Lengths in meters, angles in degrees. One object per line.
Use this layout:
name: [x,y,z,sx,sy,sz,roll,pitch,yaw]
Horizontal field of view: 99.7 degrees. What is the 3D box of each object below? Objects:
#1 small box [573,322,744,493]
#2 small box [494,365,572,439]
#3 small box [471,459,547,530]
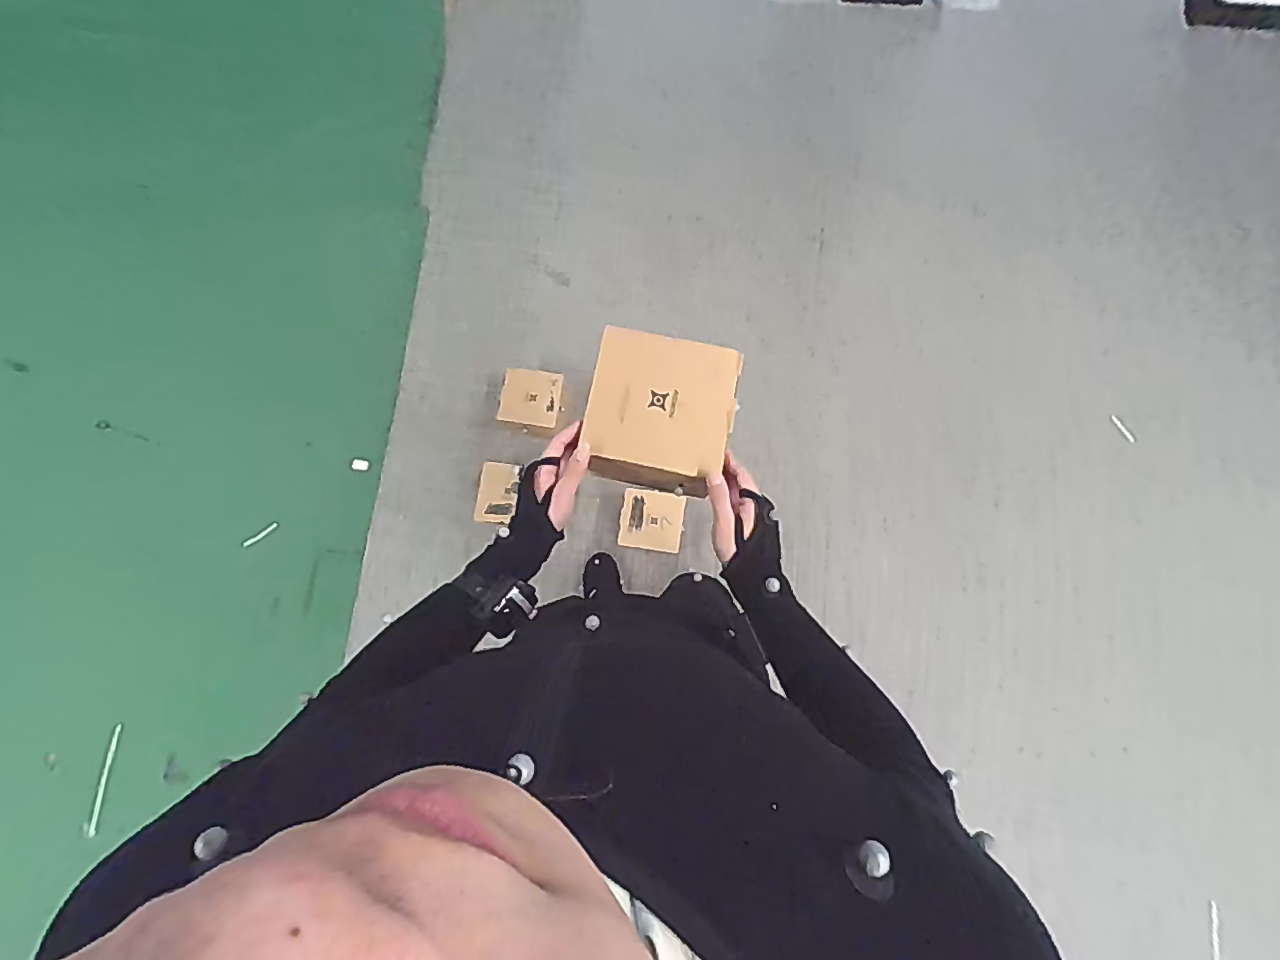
small box: [0.024,-0.083,0.715,0.179,0.176,0.168,12,81,3]
small box: [-0.318,-0.231,1.640,0.179,0.176,0.168,9,82,3]
small box: [-0.379,0.049,1.598,0.168,0.176,0.179,8,81,2]
